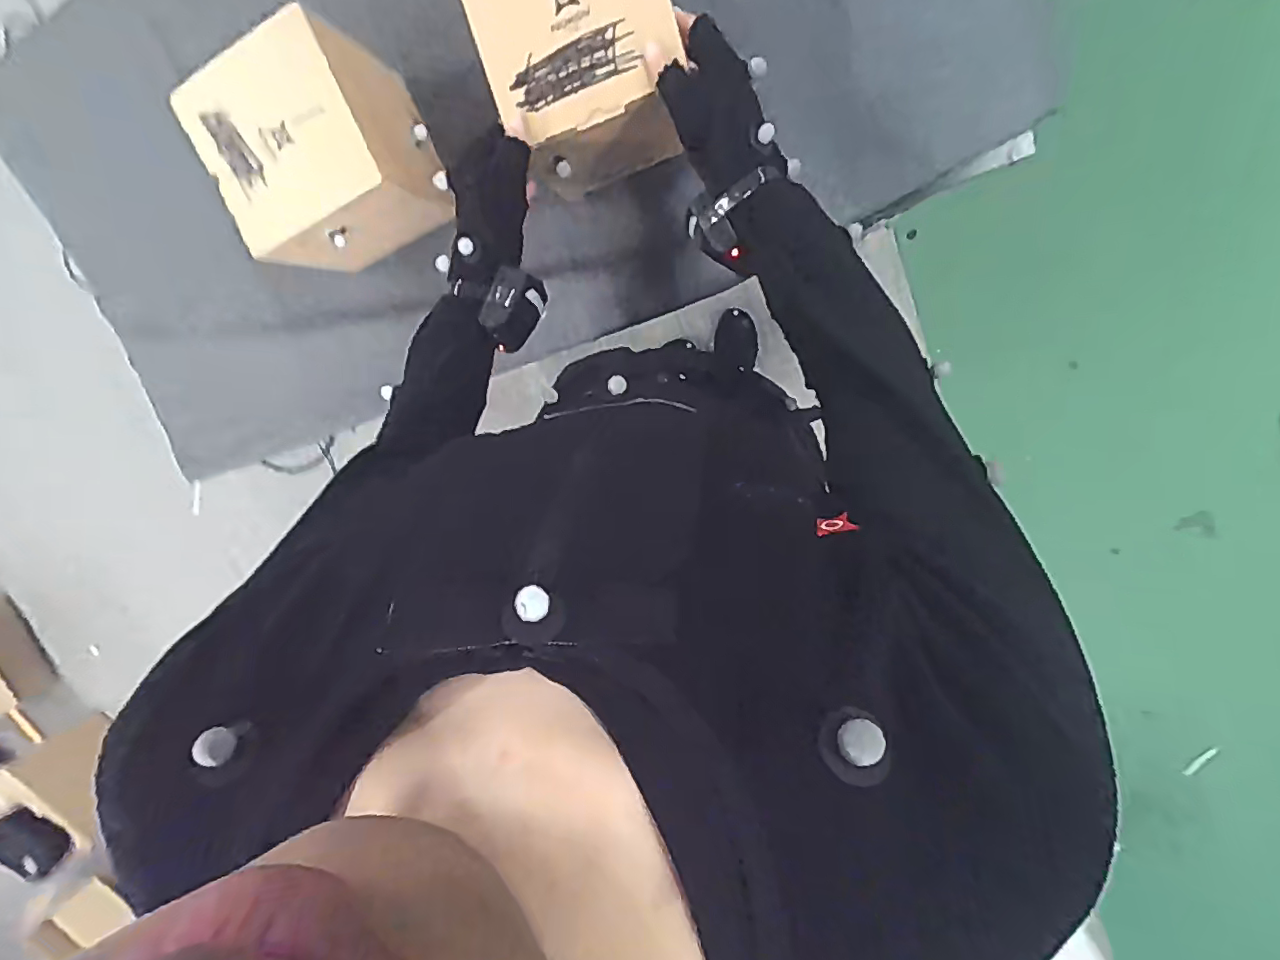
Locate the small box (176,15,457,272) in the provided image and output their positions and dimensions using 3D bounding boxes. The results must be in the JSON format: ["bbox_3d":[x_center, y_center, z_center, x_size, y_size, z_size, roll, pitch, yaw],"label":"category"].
[{"bbox_3d":[-0.346,-0.352,0.612,0.179,0.176,0.168,-21,102,14],"label":"small box"}]
